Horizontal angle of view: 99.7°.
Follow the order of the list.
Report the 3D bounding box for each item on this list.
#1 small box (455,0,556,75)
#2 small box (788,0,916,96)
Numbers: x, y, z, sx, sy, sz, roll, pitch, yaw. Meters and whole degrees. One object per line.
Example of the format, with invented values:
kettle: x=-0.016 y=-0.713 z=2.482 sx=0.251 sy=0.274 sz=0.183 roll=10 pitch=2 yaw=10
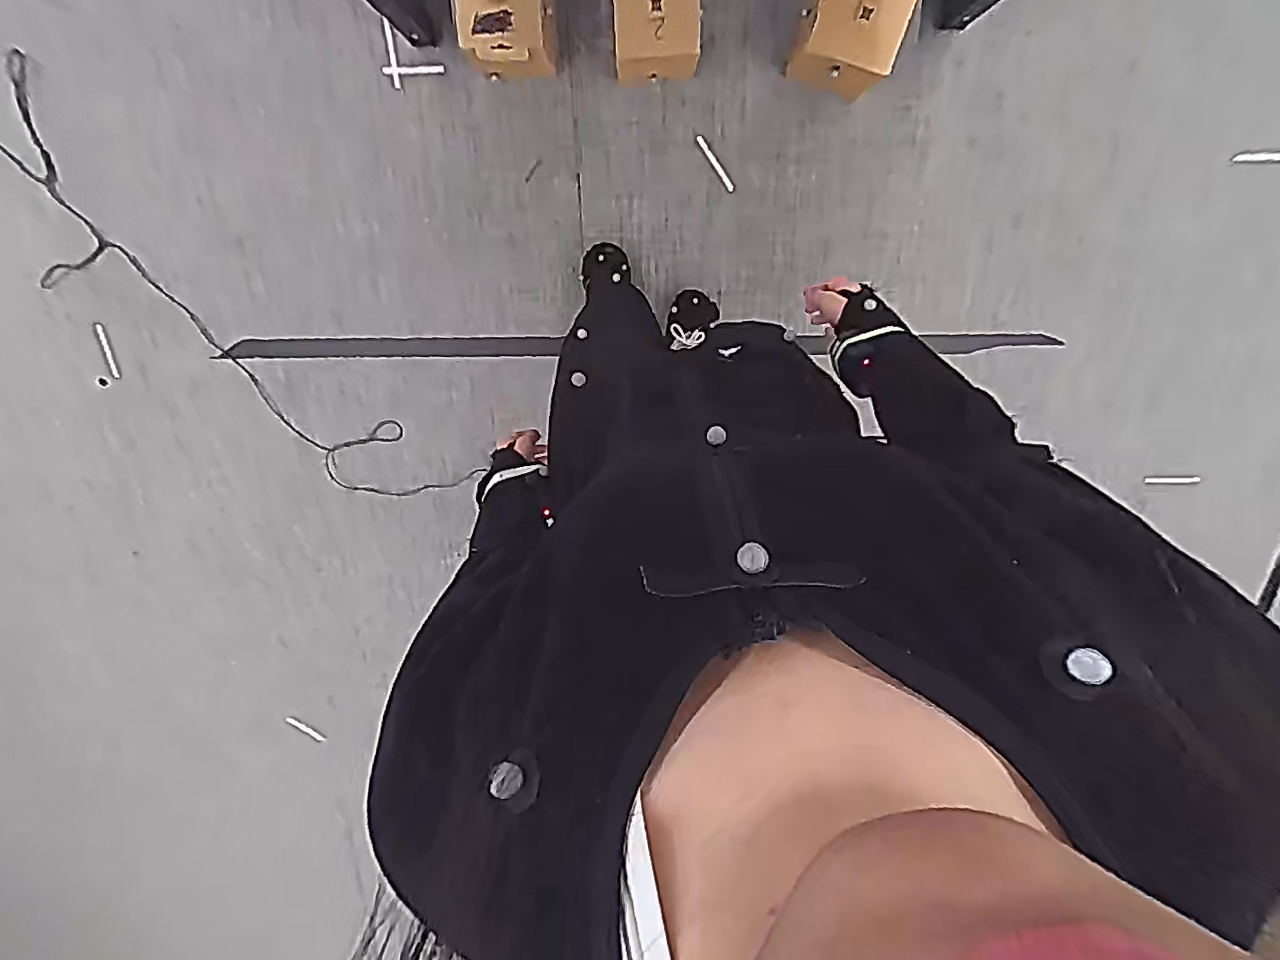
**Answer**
small box: x=-0.266 y=-0.942 z=1.087 sx=0.168 sy=0.176 sz=0.179 roll=0 pitch=110 yaw=0
small box: x=0.425 y=-0.914 z=1.098 sx=0.179 sy=0.176 sz=0.168 roll=15 pitch=111 yaw=-4
